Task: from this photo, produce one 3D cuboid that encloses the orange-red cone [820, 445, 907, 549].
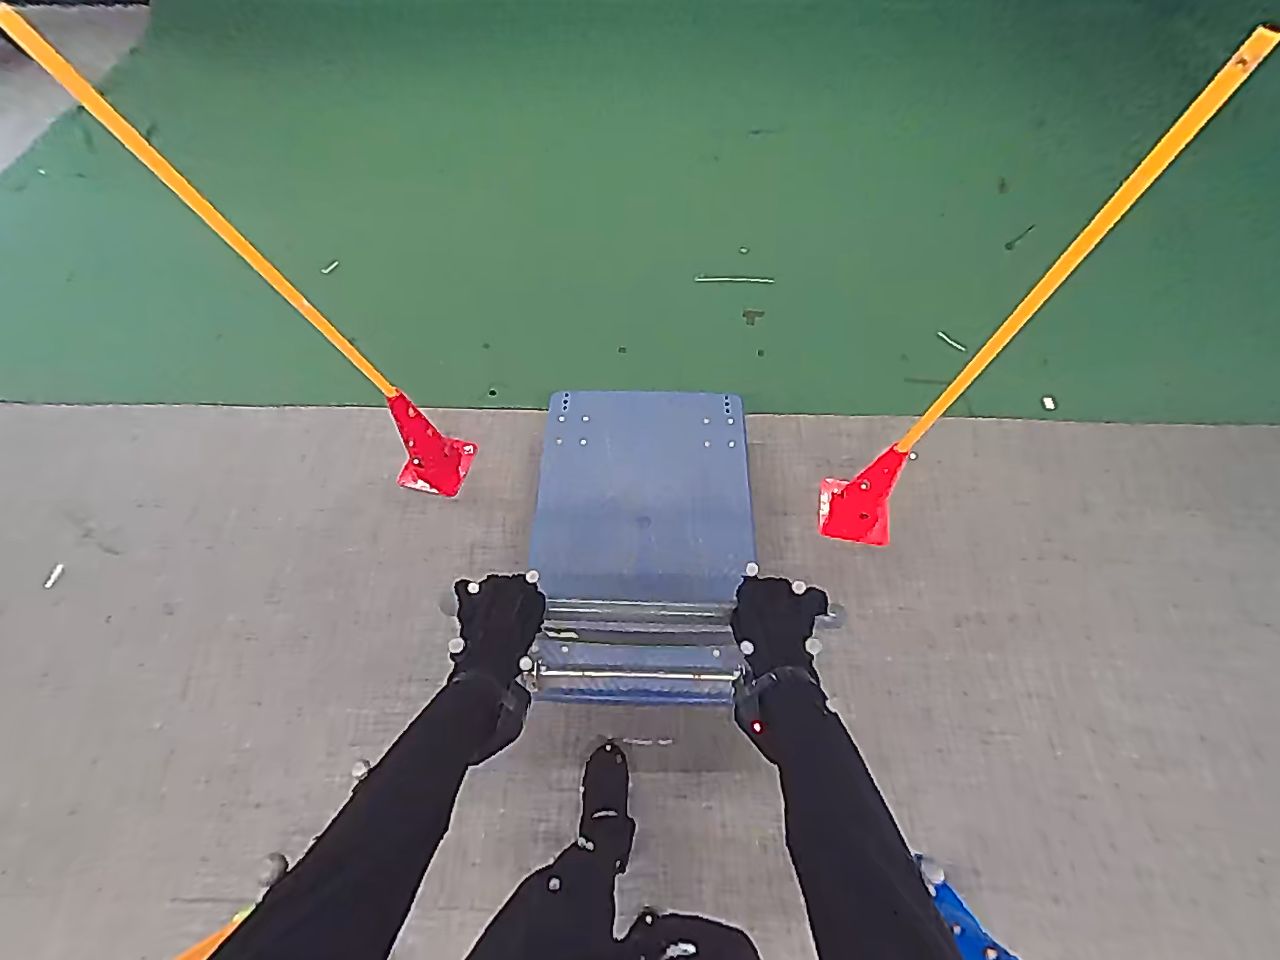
[{"bbox_3d":[0.636,0.019,1.461,0.198,0.360,0.199,11,62,8],"label":"orange-red cone"}]
